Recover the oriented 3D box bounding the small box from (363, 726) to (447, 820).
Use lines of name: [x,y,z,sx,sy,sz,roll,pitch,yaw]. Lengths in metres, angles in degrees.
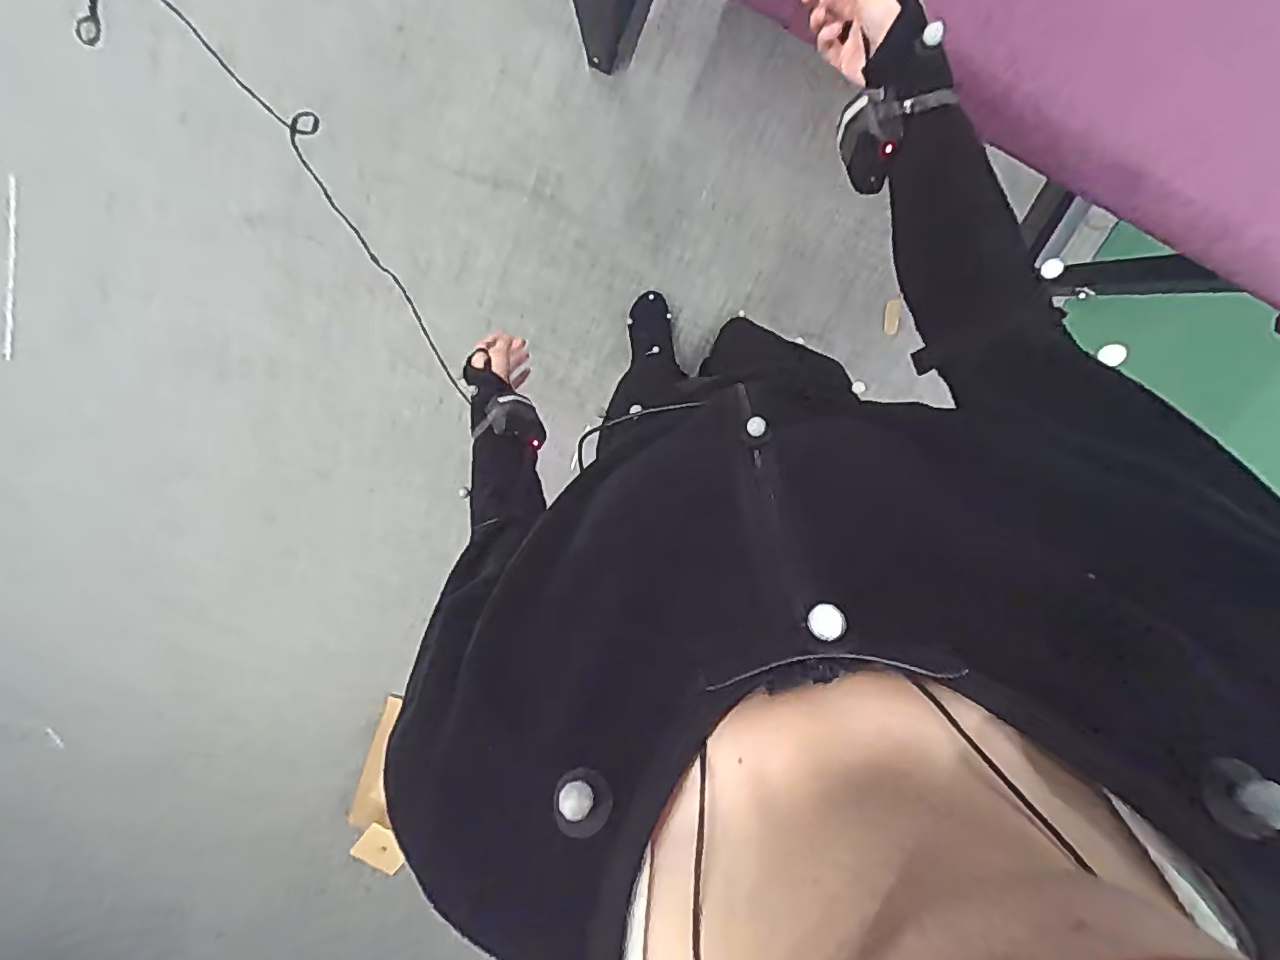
small box: [-0.747,0.933,1.739,0.168,0.176,0.179,30,106,-7]
